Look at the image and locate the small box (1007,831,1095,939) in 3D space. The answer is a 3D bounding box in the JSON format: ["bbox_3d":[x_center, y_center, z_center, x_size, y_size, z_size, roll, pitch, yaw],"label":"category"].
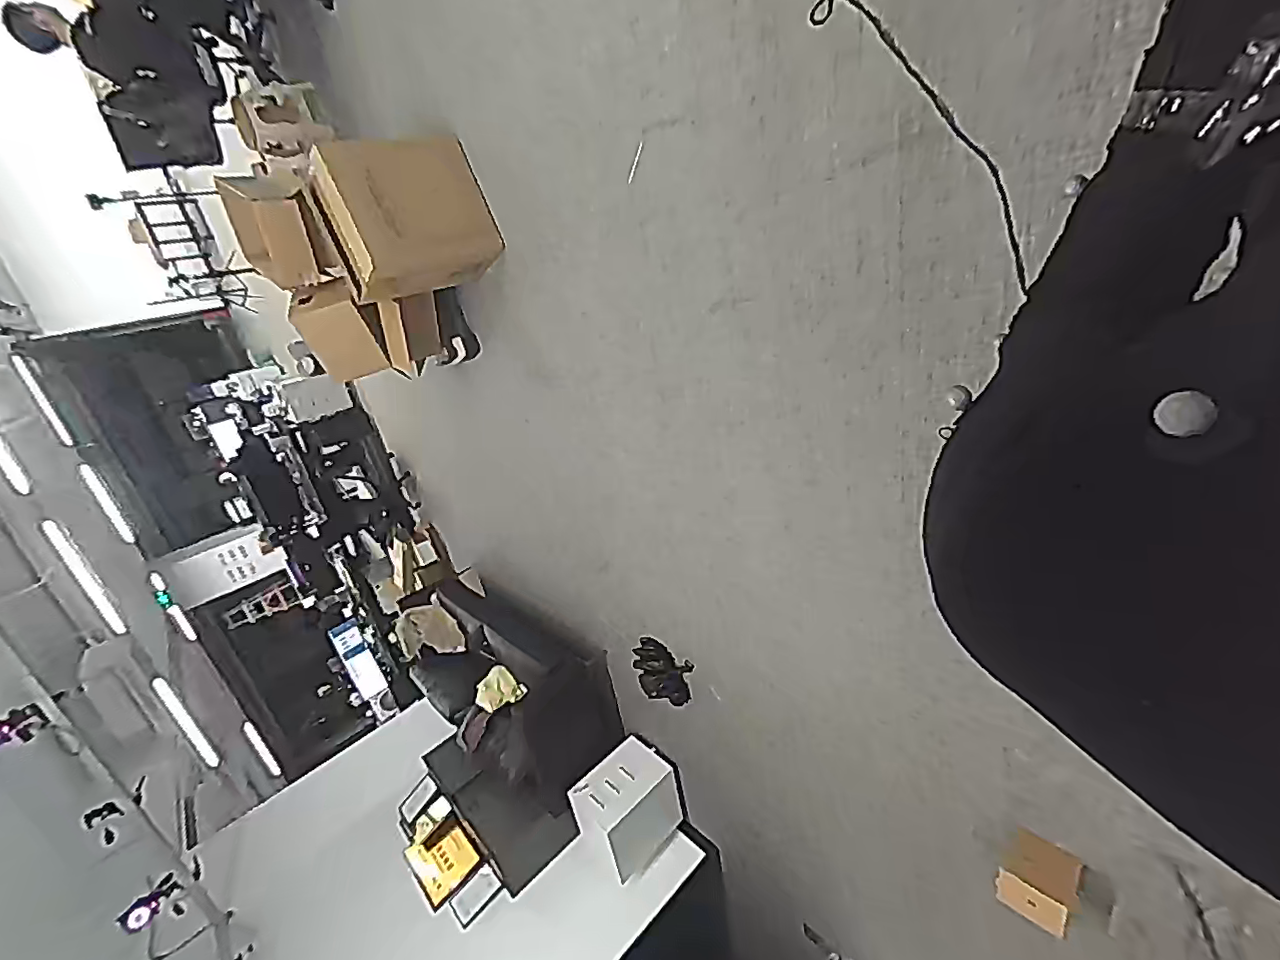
[{"bbox_3d":[1.259,1.227,1.658,0.179,0.176,0.168,13,124,45],"label":"small box"}]
